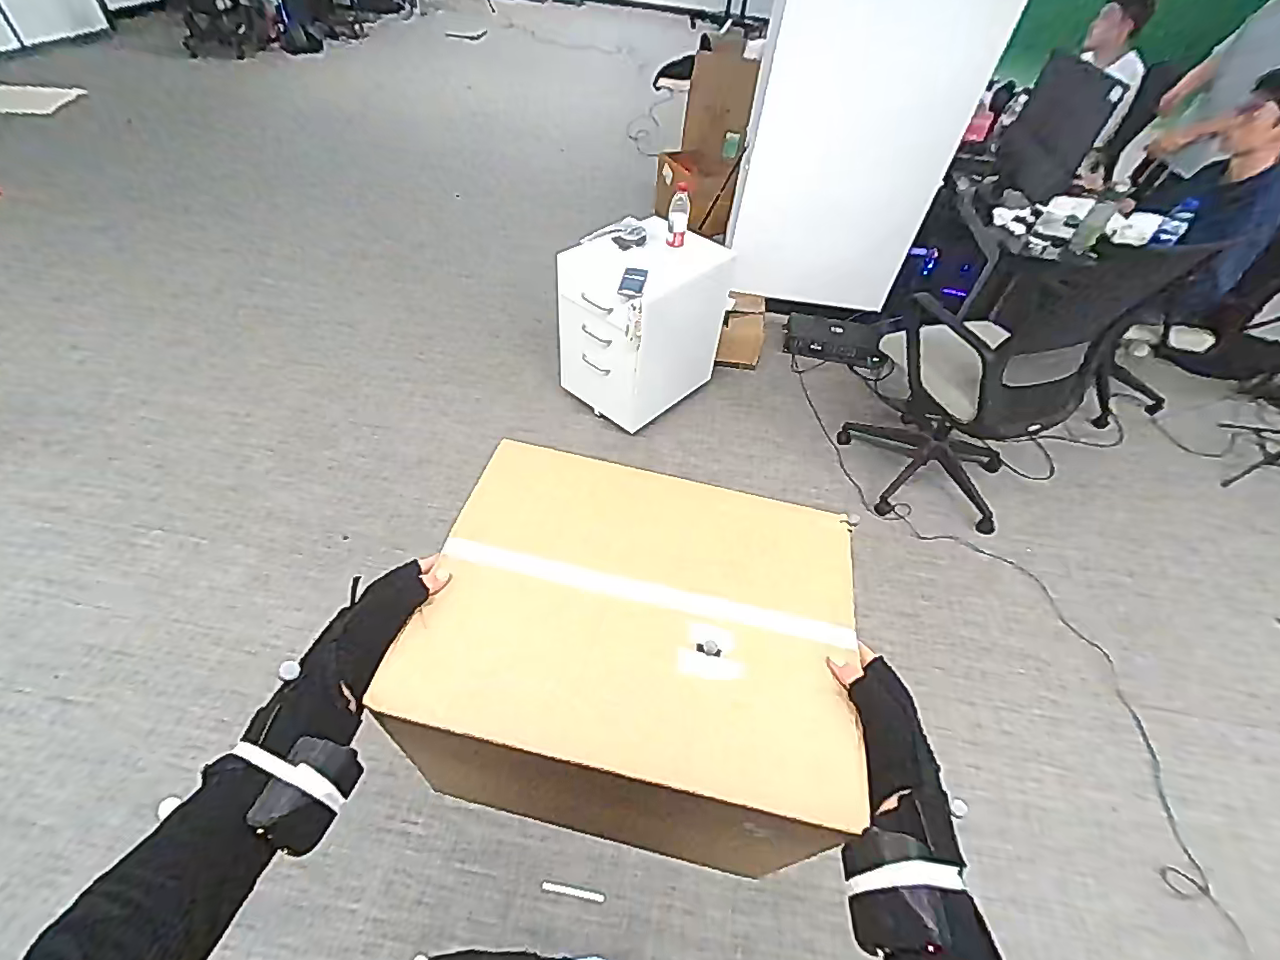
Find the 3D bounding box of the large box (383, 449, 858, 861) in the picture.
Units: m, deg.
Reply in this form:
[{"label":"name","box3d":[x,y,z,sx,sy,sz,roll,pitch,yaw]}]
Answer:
[{"label":"large box","box3d":[-0.011,0.210,0.643,0.408,0.320,0.320,13,50,3]}]
